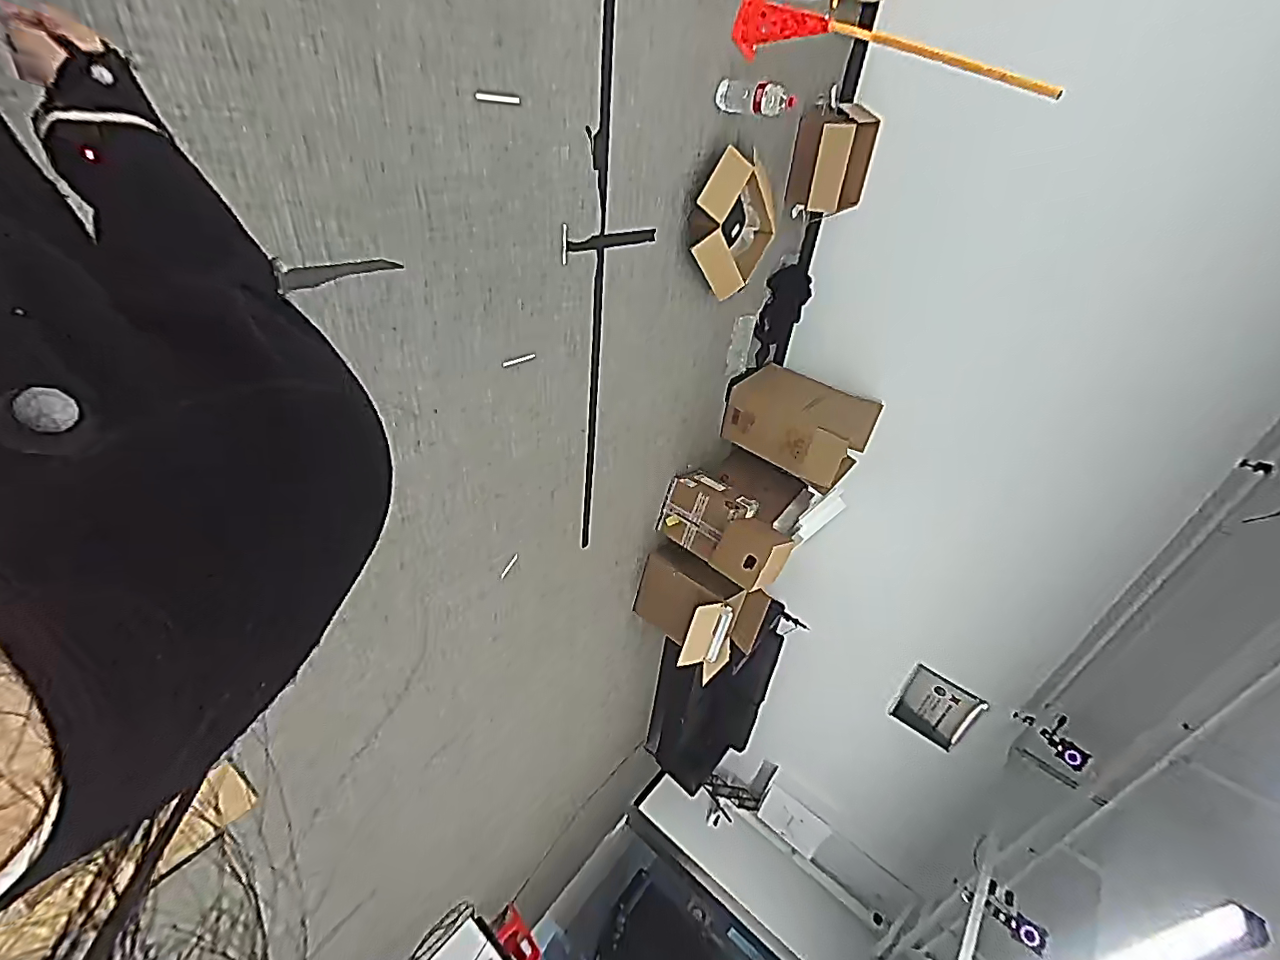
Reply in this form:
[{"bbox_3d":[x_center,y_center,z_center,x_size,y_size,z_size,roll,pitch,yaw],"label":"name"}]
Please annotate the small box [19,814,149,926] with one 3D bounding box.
[{"bbox_3d":[-1.501,1.050,1.463,0.168,0.176,0.179,-42,146,-35],"label":"small box"}]
